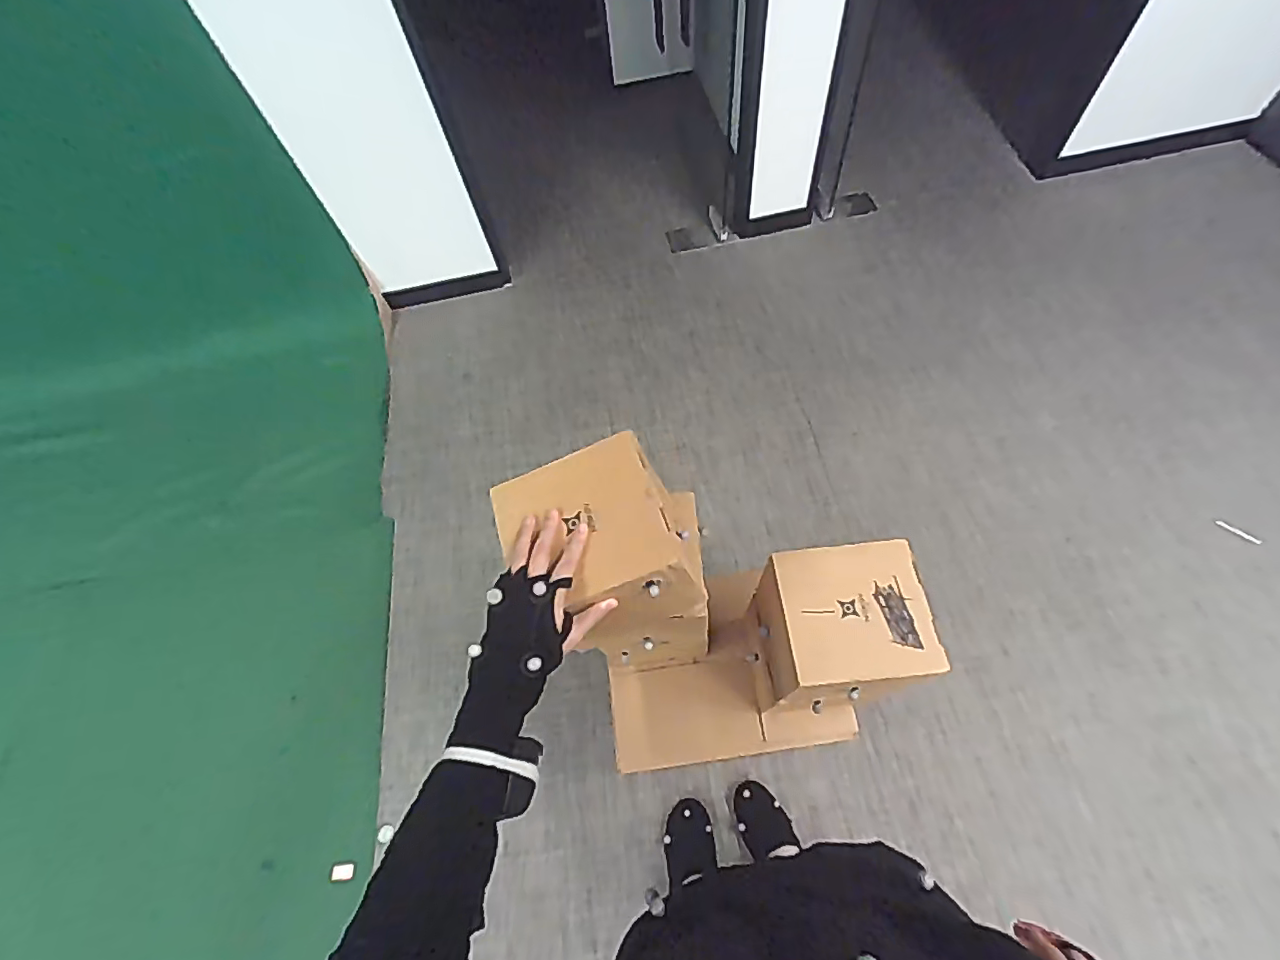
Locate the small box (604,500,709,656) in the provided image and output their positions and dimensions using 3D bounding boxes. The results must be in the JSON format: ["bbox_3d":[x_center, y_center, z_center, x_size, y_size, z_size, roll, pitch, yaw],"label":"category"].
[{"bbox_3d":[0.009,0.148,0.788,0.168,0.176,0.179,-6,61,4],"label":"small box"}]

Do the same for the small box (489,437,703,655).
[{"bbox_3d":[-0.046,0.087,0.631,0.179,0.176,0.168,-25,59,5],"label":"small box"}]

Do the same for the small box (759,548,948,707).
[{"bbox_3d":[0.267,0.203,0.724,0.179,0.176,0.168,-7,61,3],"label":"small box"}]

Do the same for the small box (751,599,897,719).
[{"bbox_3d":[0.279,0.283,0.867,0.179,0.176,0.168,-8,63,3],"label":"small box"}]
